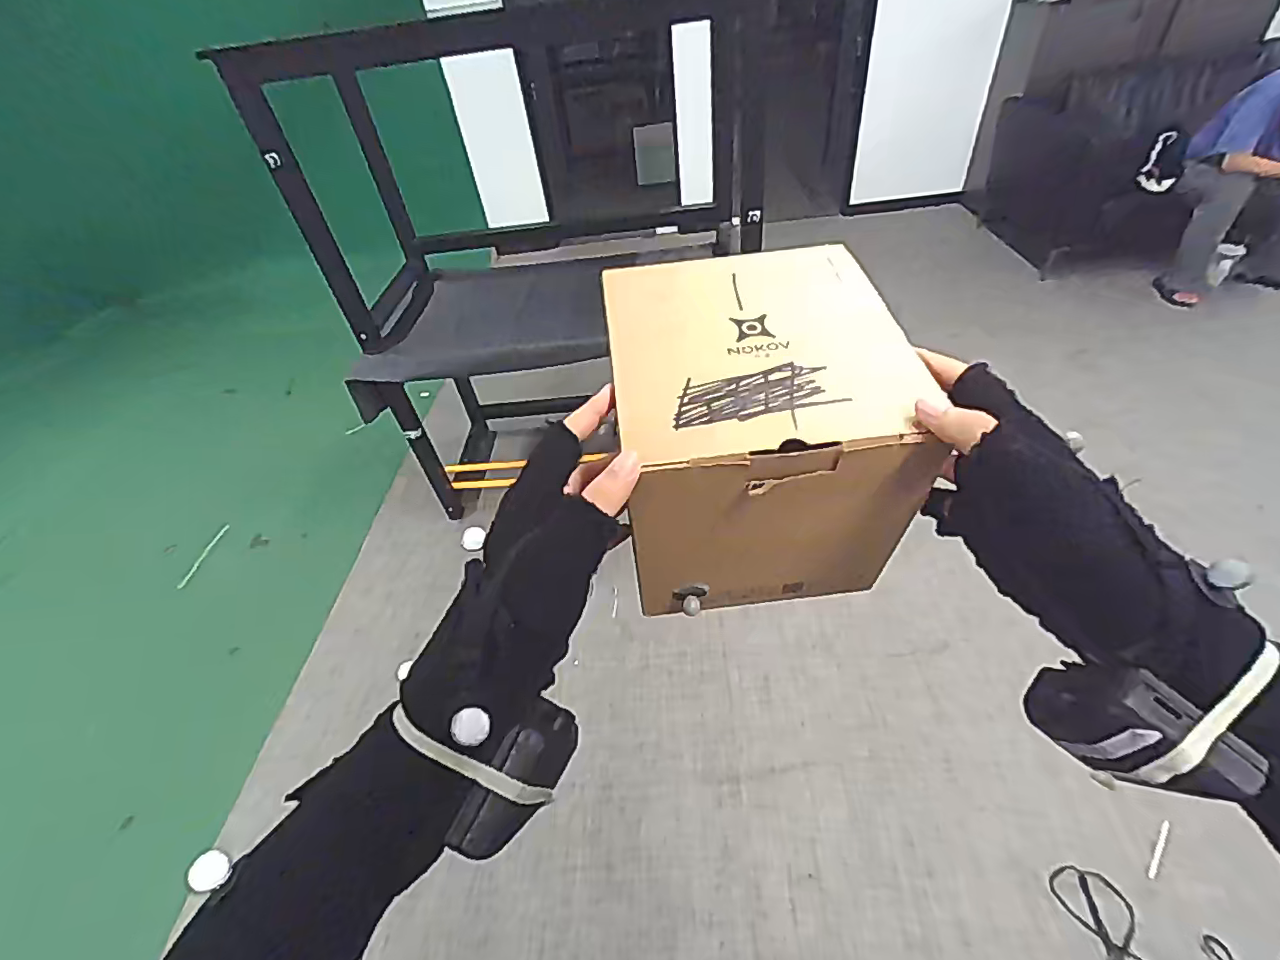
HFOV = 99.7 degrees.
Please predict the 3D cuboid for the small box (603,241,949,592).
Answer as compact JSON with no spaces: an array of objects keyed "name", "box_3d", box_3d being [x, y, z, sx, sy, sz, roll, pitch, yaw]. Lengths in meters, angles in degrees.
[{"name":"small box","box_3d":[0.069,-0.035,0.374,0.168,0.176,0.179,-6,50,-1]}]
